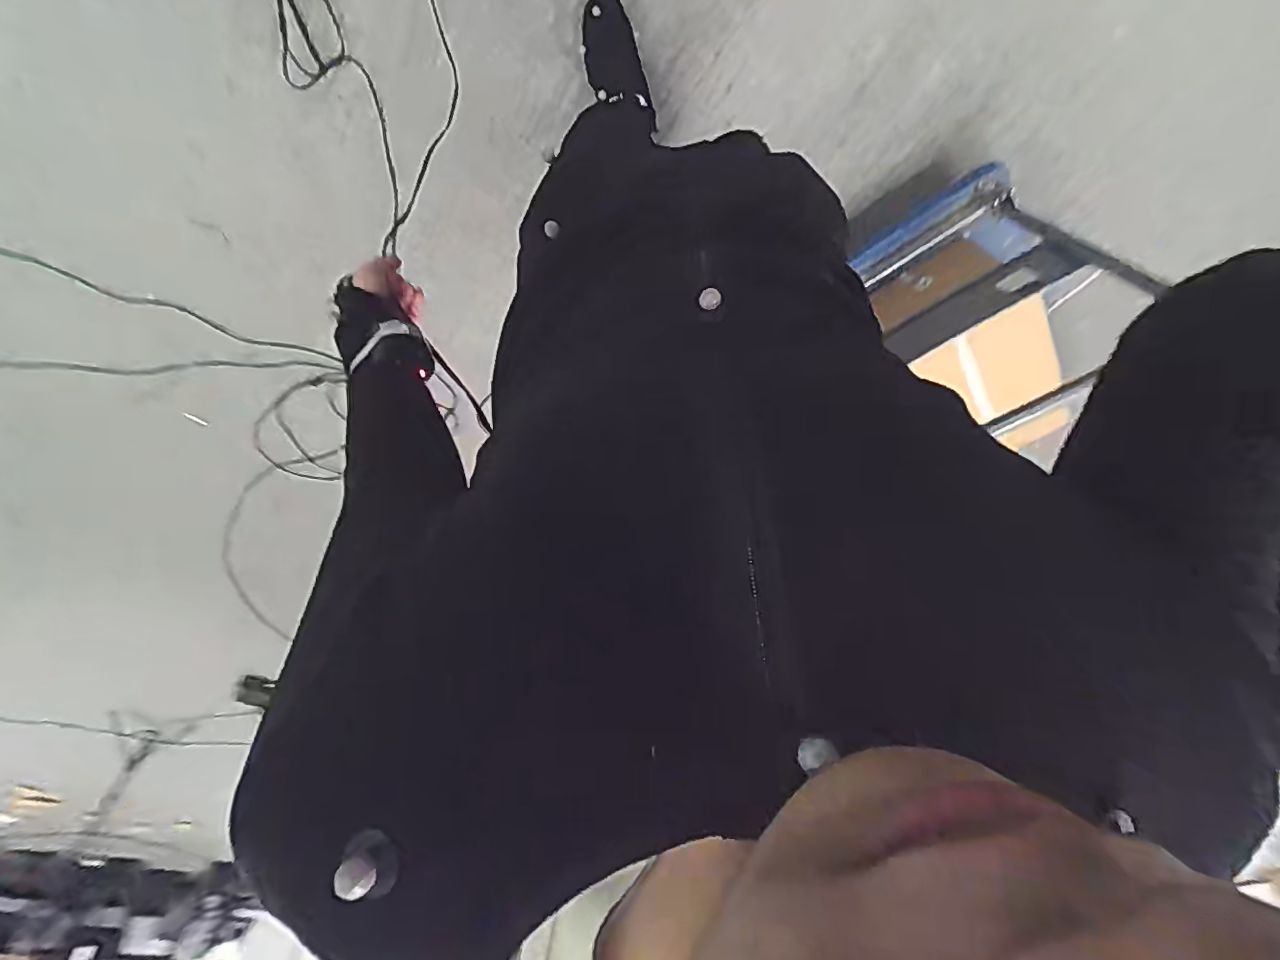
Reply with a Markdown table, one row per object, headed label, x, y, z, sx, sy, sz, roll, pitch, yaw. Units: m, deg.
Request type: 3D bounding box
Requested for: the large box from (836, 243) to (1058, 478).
| label | x | y | z | sx | sy | sz | roll | pitch | yaw |
| --- | --- | --- | --- | --- | --- | --- | --- | --- | --- |
| large box | 0.745 | -0.288 | 1.337 | 0.320 | 0.320 | 0.408 | -29 | 127 | 22 |
